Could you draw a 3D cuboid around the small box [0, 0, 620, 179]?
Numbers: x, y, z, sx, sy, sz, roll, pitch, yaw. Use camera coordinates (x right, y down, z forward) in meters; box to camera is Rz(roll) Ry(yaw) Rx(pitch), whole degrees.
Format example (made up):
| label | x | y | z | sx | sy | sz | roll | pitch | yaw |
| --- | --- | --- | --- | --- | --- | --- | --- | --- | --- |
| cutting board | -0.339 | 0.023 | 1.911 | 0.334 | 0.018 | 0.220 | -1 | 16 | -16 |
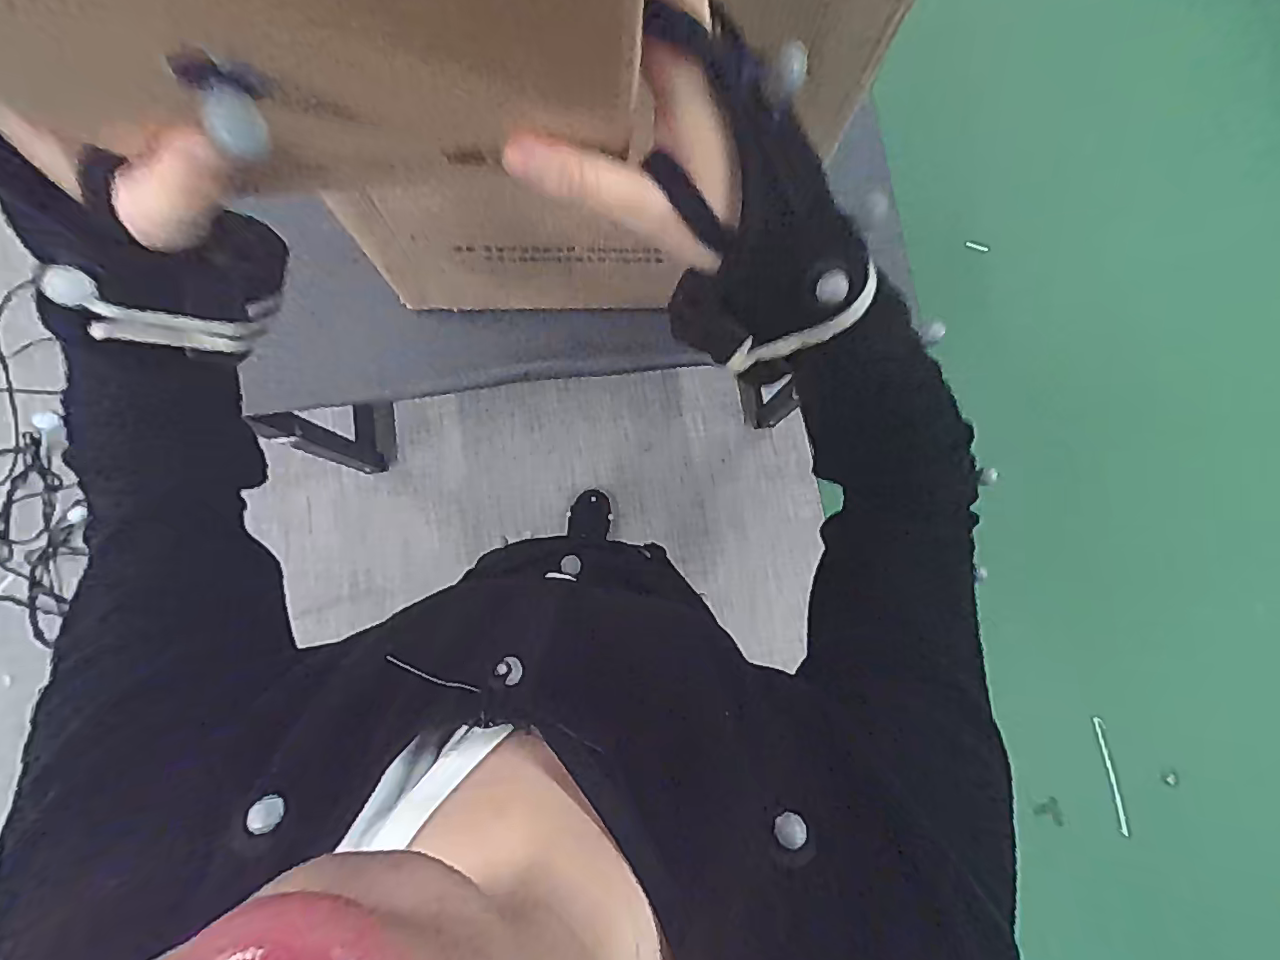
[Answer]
| label | x | y | z | sx | sy | sz | roll | pitch | yaw |
| --- | --- | --- | --- | --- | --- | --- | --- | --- | --- |
| small box | -0.092 | -0.189 | 0.130 | 0.168 | 0.176 | 0.179 | -5 | 103 | -2 |
